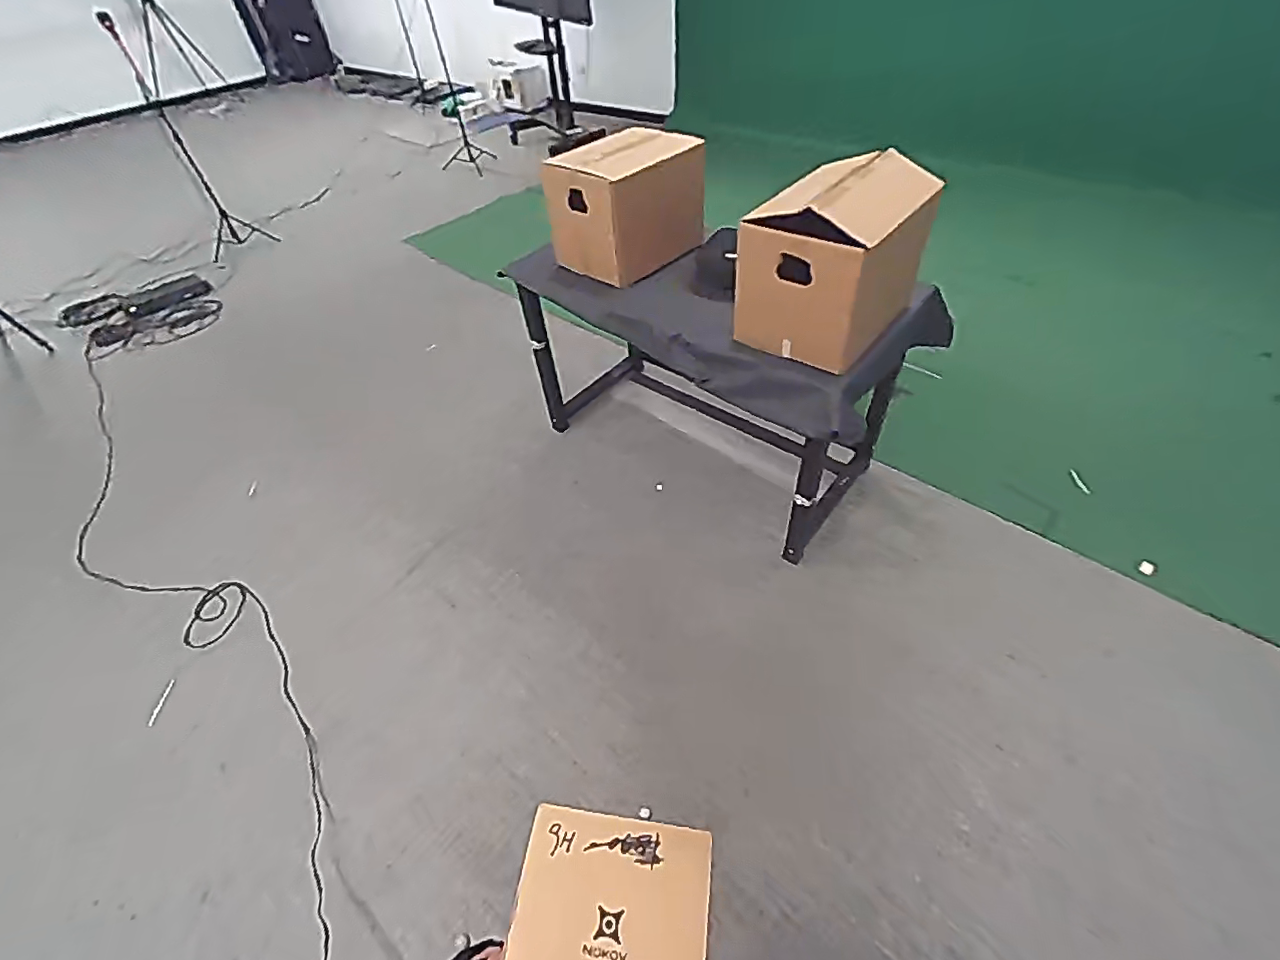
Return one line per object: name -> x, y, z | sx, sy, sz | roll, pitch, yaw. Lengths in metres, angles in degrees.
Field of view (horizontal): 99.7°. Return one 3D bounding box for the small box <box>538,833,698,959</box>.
small box -> -0.019, 0.540, 0.632 | 0.168, 0.176, 0.179 | 3, 46, 6
